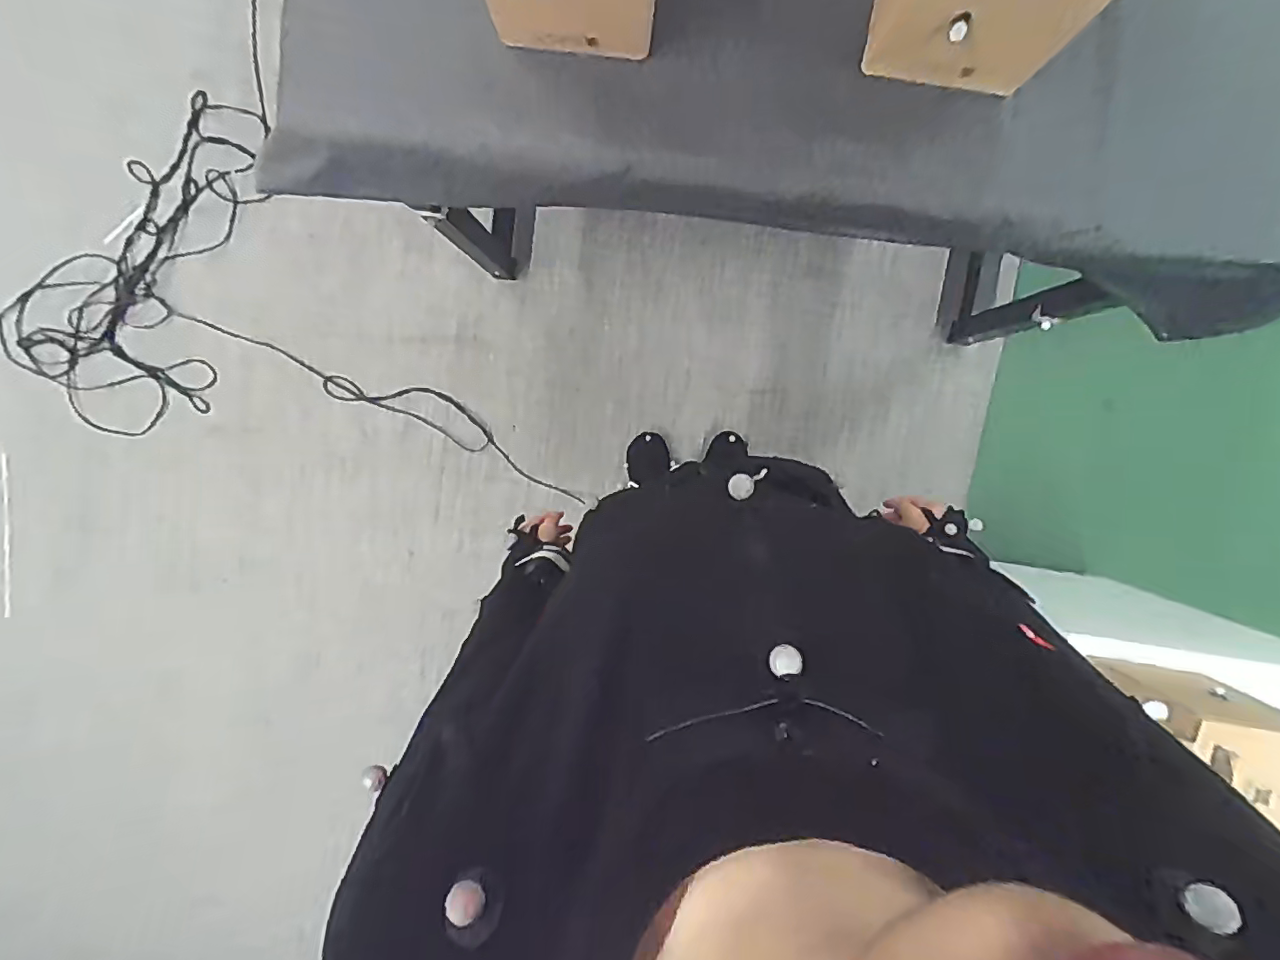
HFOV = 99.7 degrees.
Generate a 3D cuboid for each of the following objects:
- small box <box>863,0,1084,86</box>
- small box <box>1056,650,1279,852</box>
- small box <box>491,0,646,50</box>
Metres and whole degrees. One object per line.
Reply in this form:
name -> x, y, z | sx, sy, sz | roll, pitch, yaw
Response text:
small box -> 0.325, -0.508, 0.497 | 0.168, 0.176, 0.179 | 10, 96, 1
small box -> 0.707, 0.344, 0.717 | 0.179, 0.176, 0.168 | 9, 97, -1
small box -> -0.070, -0.555, 0.500 | 0.168, 0.176, 0.179 | 7, 96, 1
